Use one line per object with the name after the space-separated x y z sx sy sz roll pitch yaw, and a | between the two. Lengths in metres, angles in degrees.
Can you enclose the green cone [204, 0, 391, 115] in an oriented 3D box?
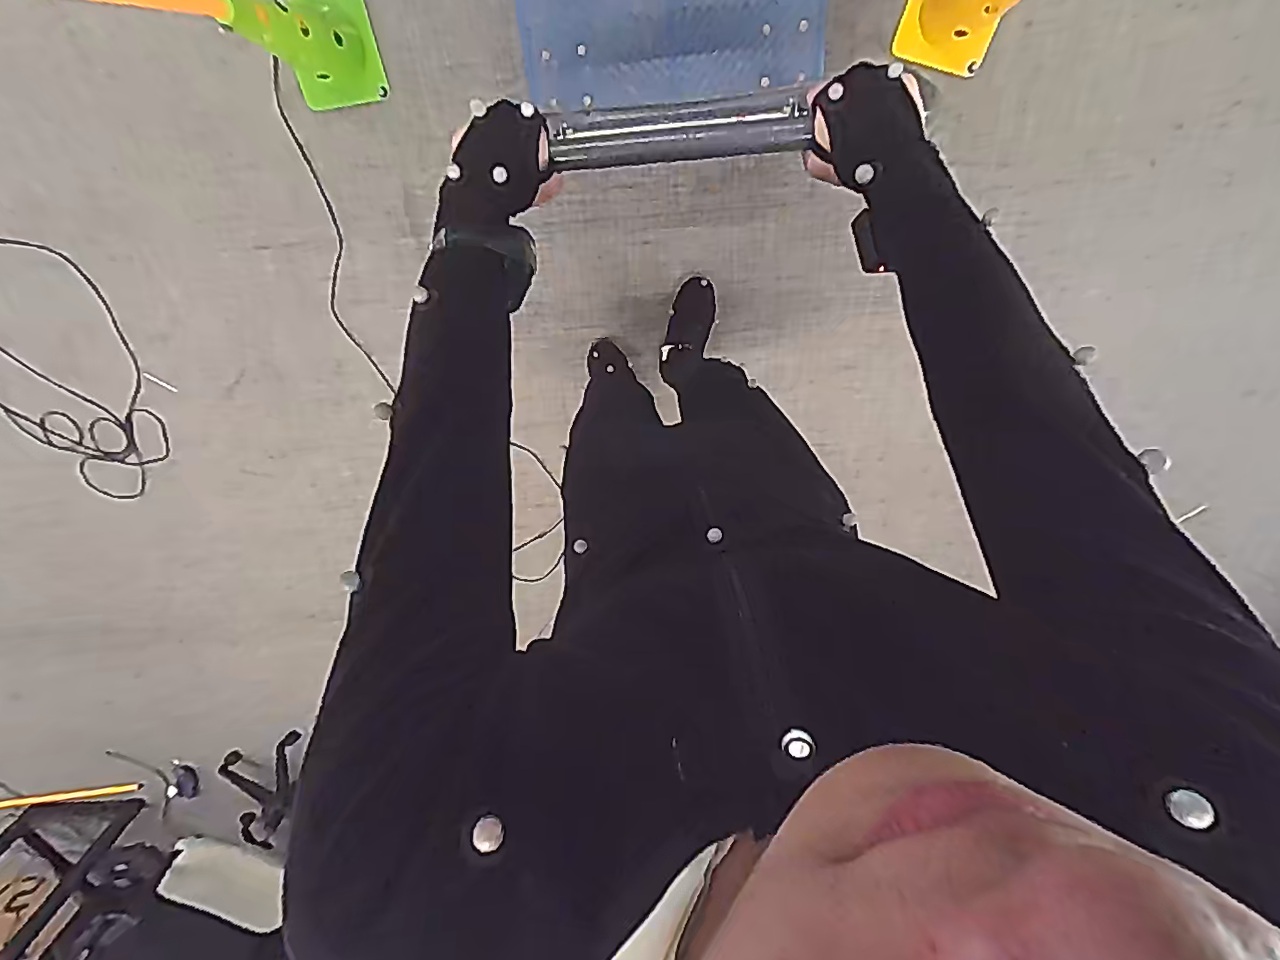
-0.681 -0.855 1.042 0.202 0.368 0.200 -5 118 8 | green cone
